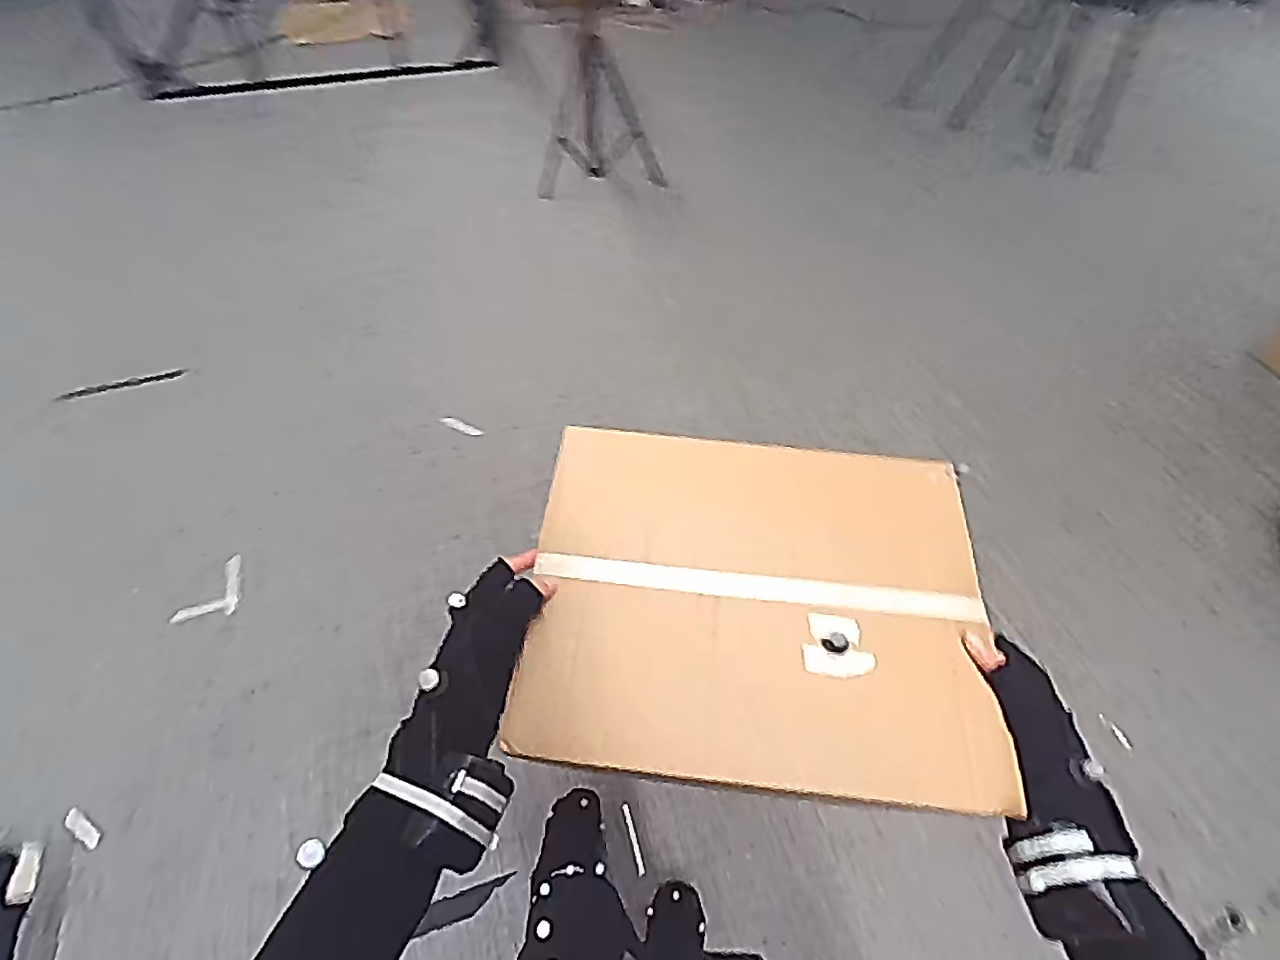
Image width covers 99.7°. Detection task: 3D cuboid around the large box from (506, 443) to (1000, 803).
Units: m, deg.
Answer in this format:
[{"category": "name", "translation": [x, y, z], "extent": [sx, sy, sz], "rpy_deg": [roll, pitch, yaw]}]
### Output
[{"category": "large box", "translation": [0.096, 0.181, 0.631], "extent": [0.408, 0.320, 0.320], "rpy_deg": [5, 60, 2]}]
